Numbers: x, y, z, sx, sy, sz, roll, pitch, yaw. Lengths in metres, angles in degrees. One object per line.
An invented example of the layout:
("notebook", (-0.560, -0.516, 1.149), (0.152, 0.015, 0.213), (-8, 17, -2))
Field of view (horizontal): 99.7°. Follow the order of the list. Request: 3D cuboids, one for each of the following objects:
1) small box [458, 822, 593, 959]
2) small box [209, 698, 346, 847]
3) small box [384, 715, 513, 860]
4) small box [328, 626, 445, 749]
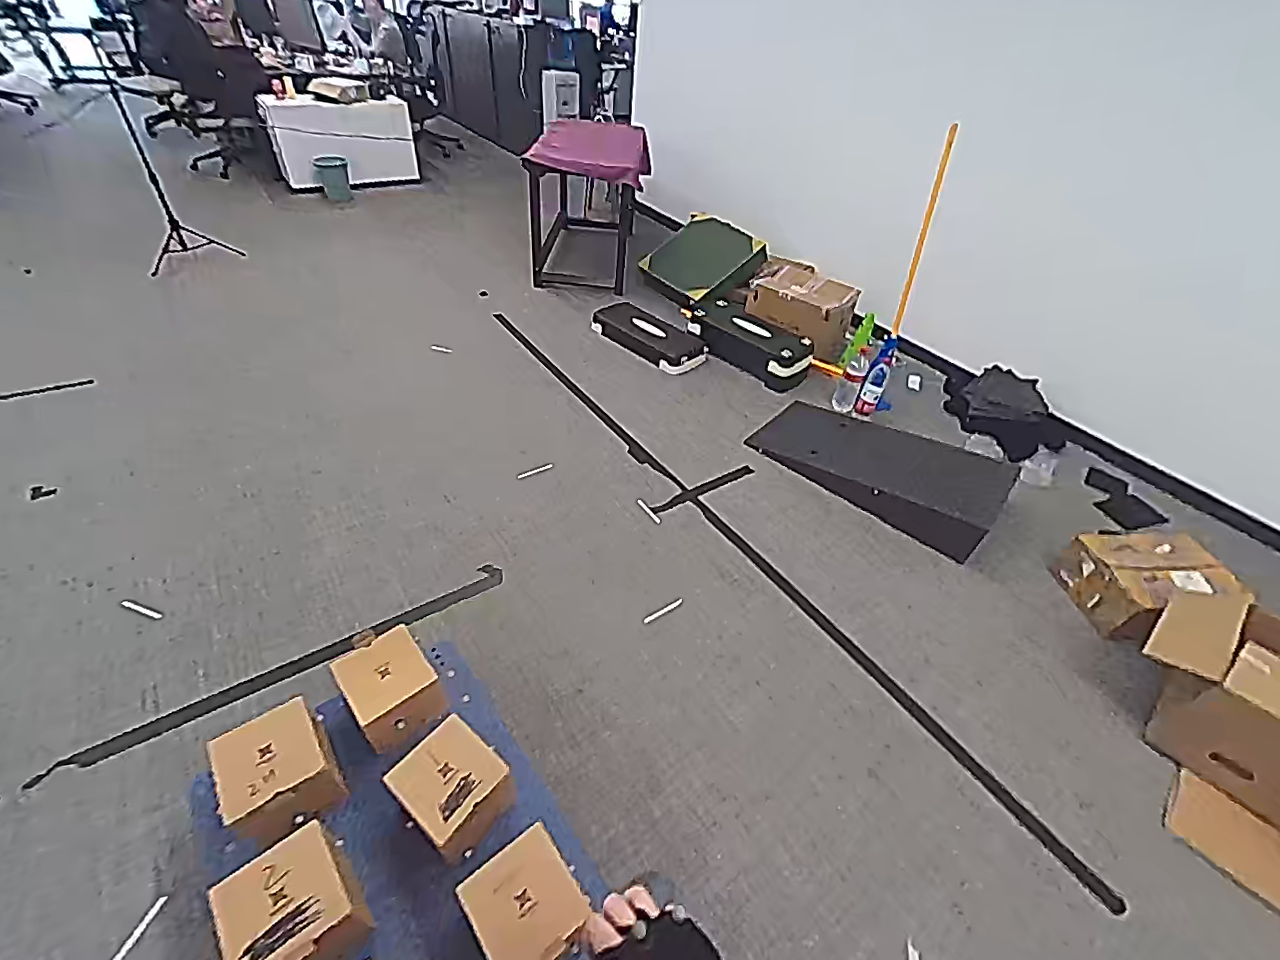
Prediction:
("small box", (-0.199, 0.761, 0.959), (0.168, 0.176, 0.179), (-26, 51, -32))
("small box", (-0.714, 0.582, 1.075), (0.168, 0.176, 0.179), (-25, 53, -30))
("small box", (-0.374, 0.620, 1.084), (0.179, 0.176, 0.168), (30, 47, 24))
("small box", (-0.561, 0.473, 1.216), (0.168, 0.176, 0.179), (-30, 54, -33))
